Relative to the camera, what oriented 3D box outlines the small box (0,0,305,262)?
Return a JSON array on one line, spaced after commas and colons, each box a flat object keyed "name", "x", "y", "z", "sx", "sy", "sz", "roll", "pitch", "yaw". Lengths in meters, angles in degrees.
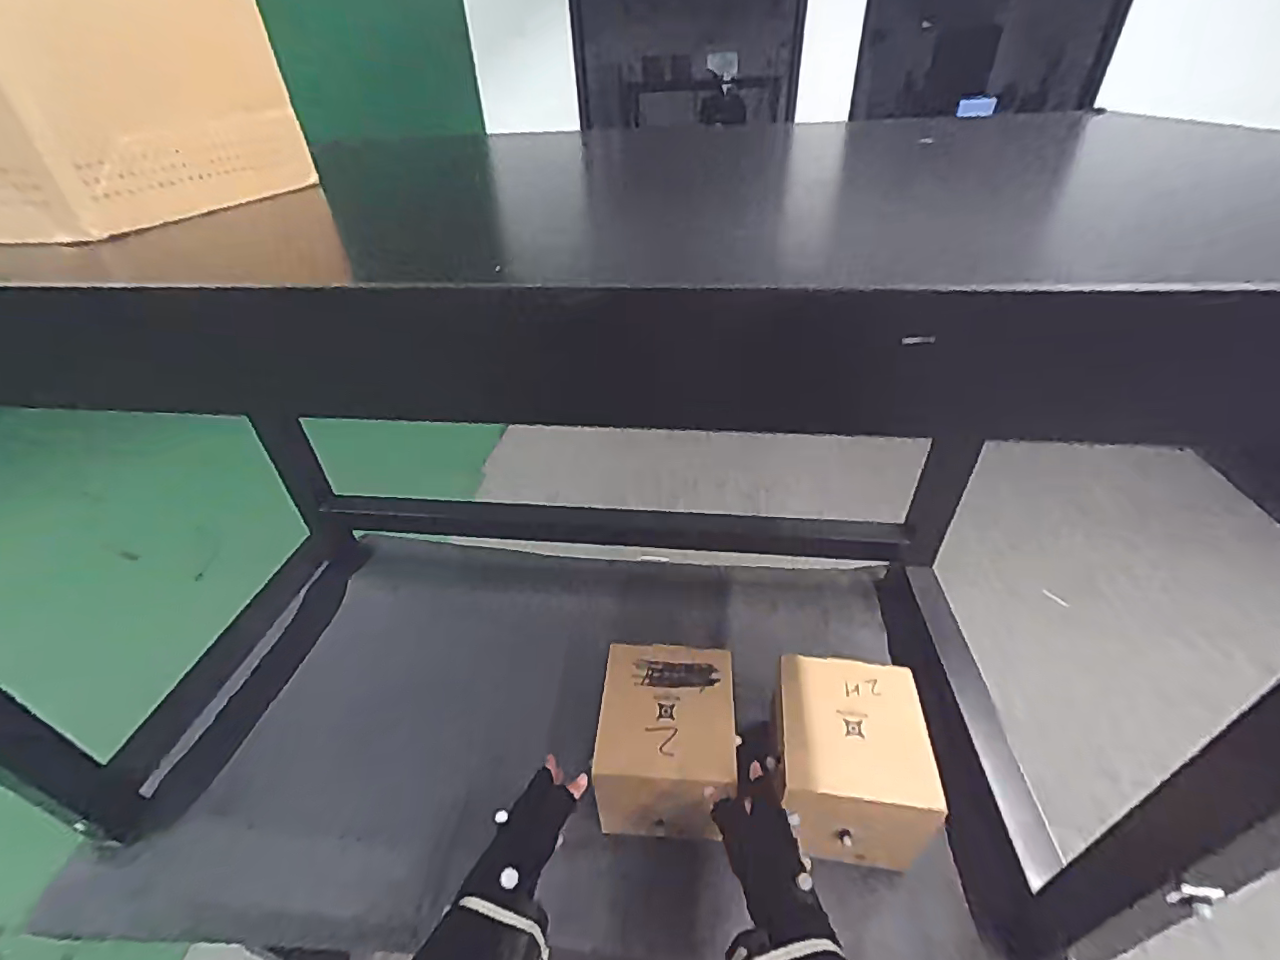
[{"name": "small box", "x": -0.324, "y": -0.220, "z": 0.285, "sx": 0.168, "sy": 0.176, "sz": 0.179, "roll": 3, "pitch": 36, "yaw": 8}]
